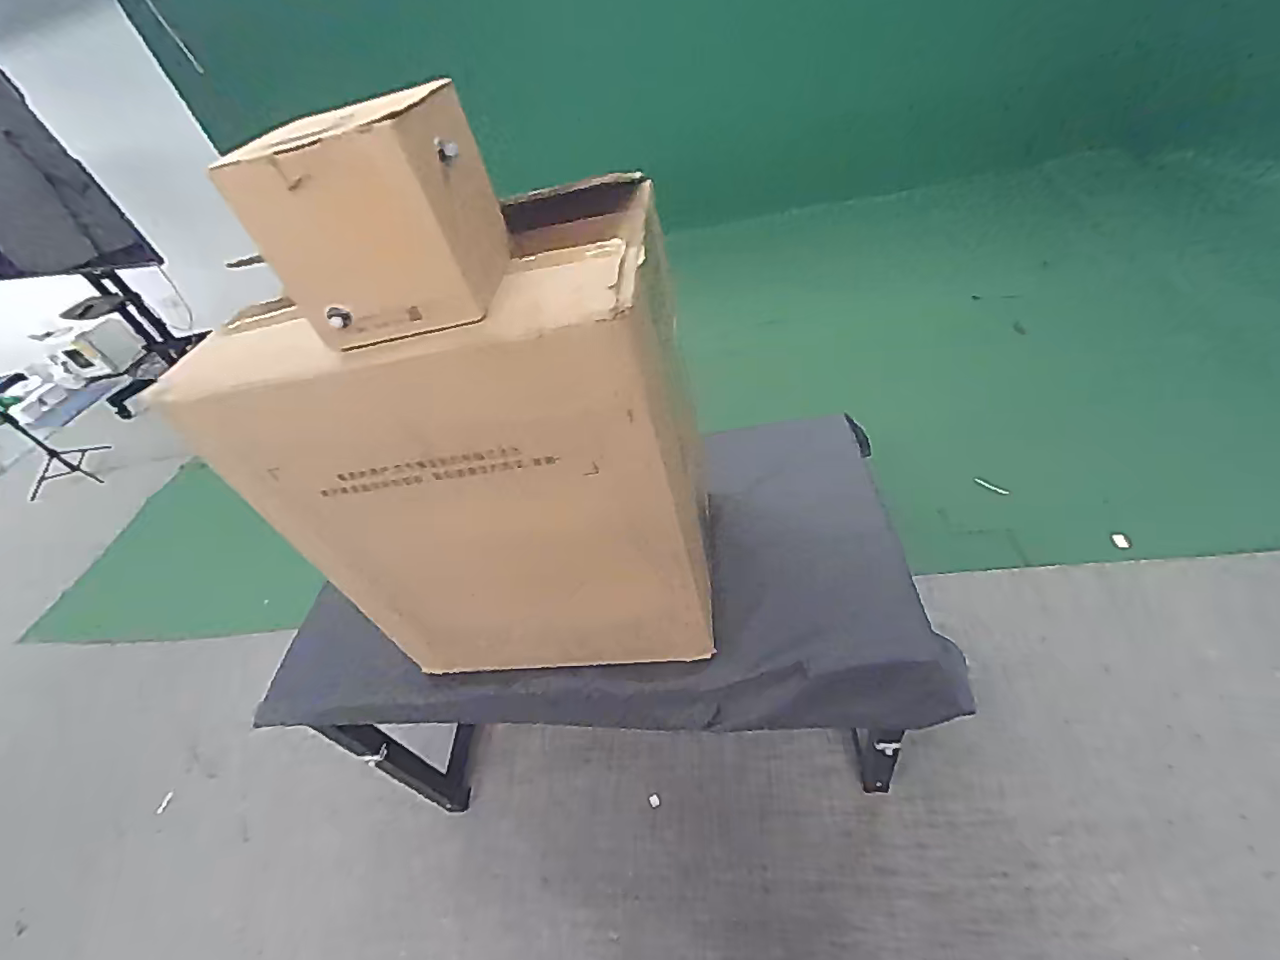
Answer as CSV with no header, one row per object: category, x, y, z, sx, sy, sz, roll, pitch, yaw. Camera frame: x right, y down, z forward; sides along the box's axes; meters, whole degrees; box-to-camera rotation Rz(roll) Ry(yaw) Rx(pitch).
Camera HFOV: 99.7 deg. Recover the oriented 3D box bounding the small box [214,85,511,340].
small box,-0.243,-0.252,0.531,0.168,0.176,0.179,-8,43,10
